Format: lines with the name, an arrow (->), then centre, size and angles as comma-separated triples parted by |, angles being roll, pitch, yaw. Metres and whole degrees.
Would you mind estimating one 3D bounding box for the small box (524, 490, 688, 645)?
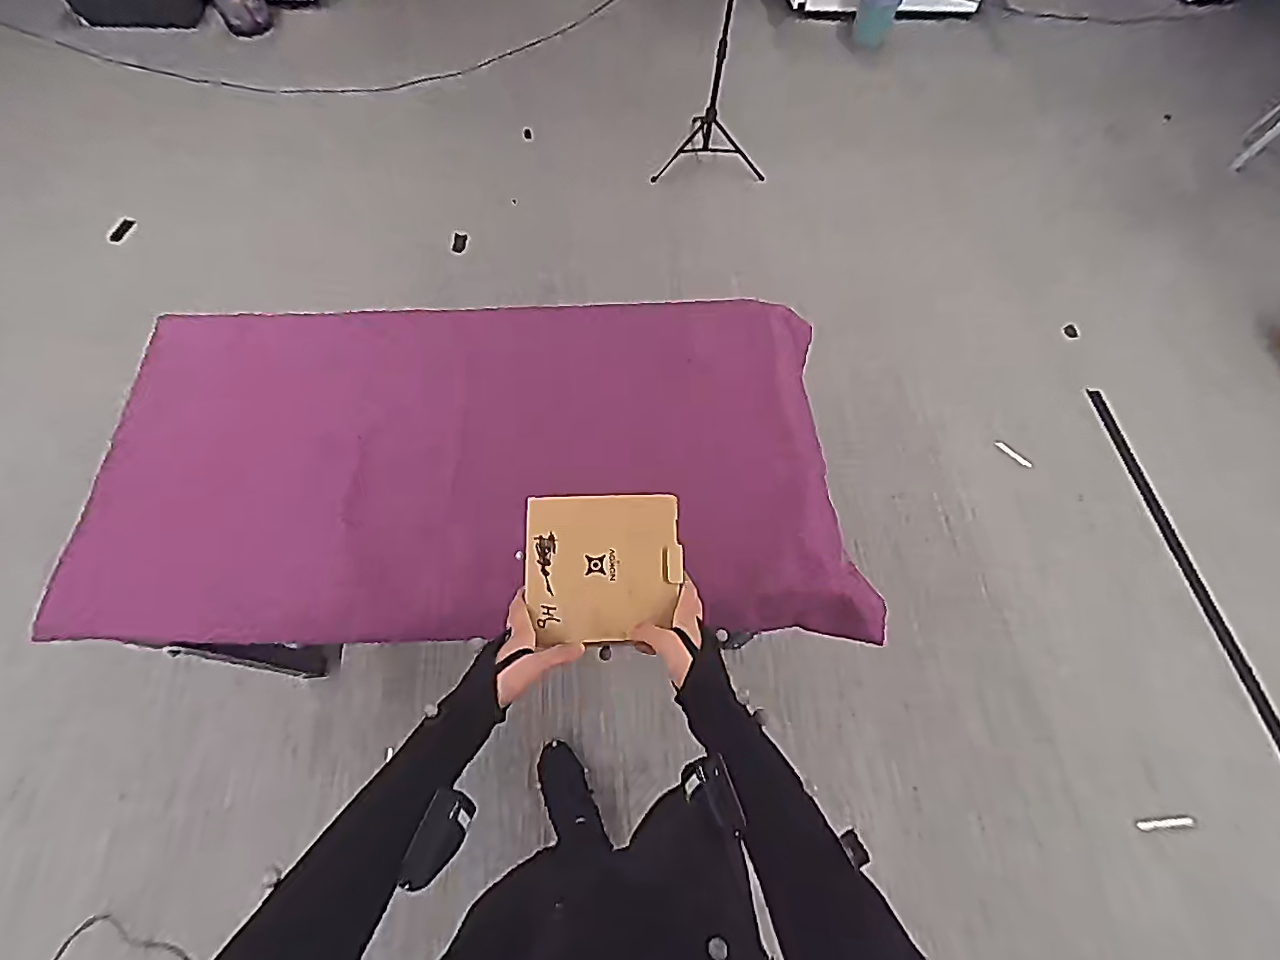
small box -> -0.042, 0.115, 0.673 | 0.179, 0.176, 0.168 | 0, 71, -4
